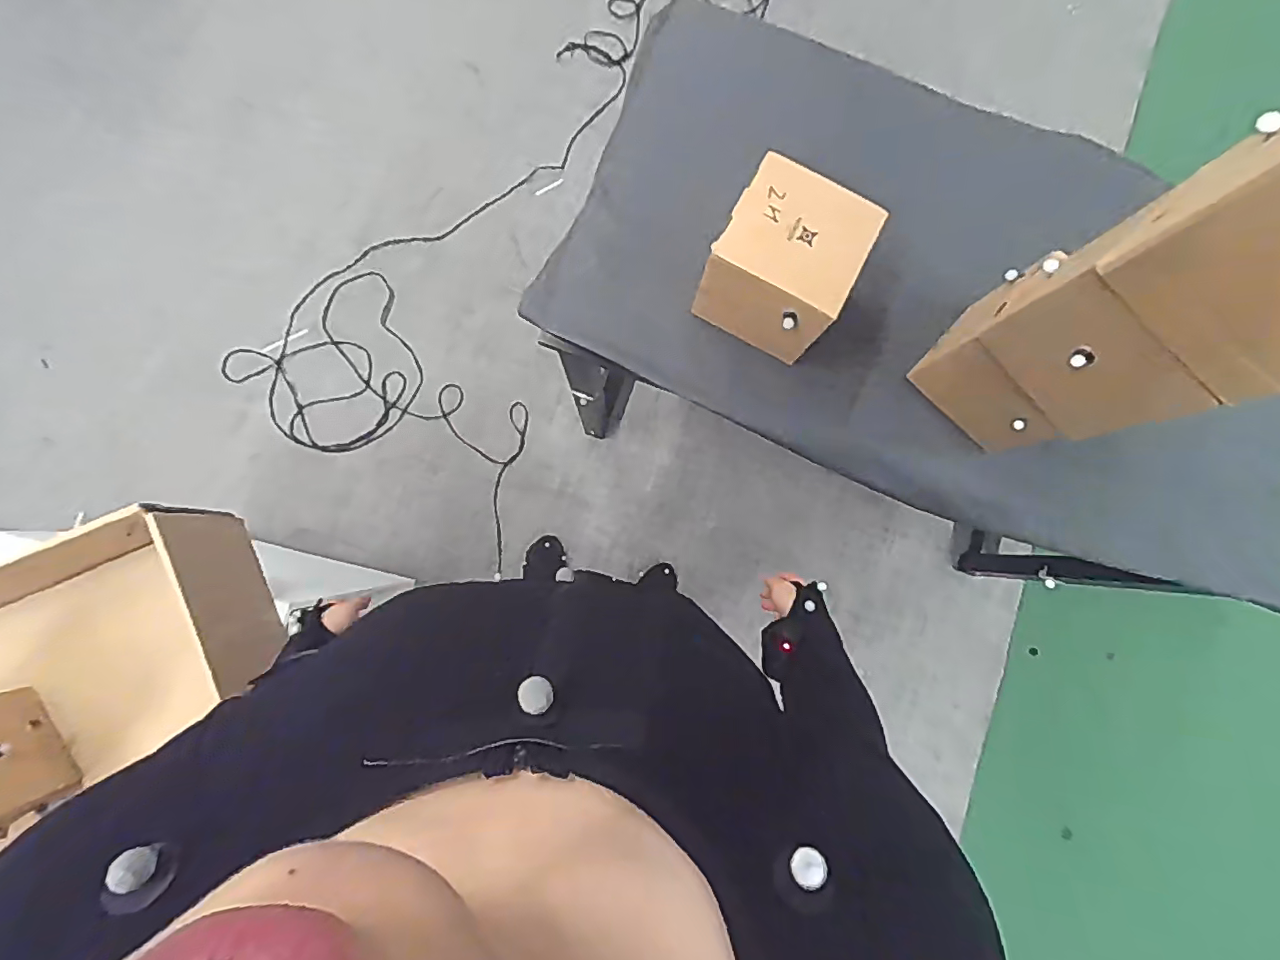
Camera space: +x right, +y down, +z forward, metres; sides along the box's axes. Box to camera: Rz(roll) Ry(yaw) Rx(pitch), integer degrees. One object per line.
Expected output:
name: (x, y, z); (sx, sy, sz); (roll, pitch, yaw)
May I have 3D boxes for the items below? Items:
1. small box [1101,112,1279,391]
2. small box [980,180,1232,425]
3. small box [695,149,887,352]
small box: (0.532, -0.197, 0.421); (0.168, 0.176, 0.179); (-41, 87, -7)
small box: (0.527, -0.176, 0.582); (0.168, 0.176, 0.179); (-38, 86, -7)
small box: (0.195, -0.299, 0.750); (0.179, 0.176, 0.168); (28, 82, 2)
